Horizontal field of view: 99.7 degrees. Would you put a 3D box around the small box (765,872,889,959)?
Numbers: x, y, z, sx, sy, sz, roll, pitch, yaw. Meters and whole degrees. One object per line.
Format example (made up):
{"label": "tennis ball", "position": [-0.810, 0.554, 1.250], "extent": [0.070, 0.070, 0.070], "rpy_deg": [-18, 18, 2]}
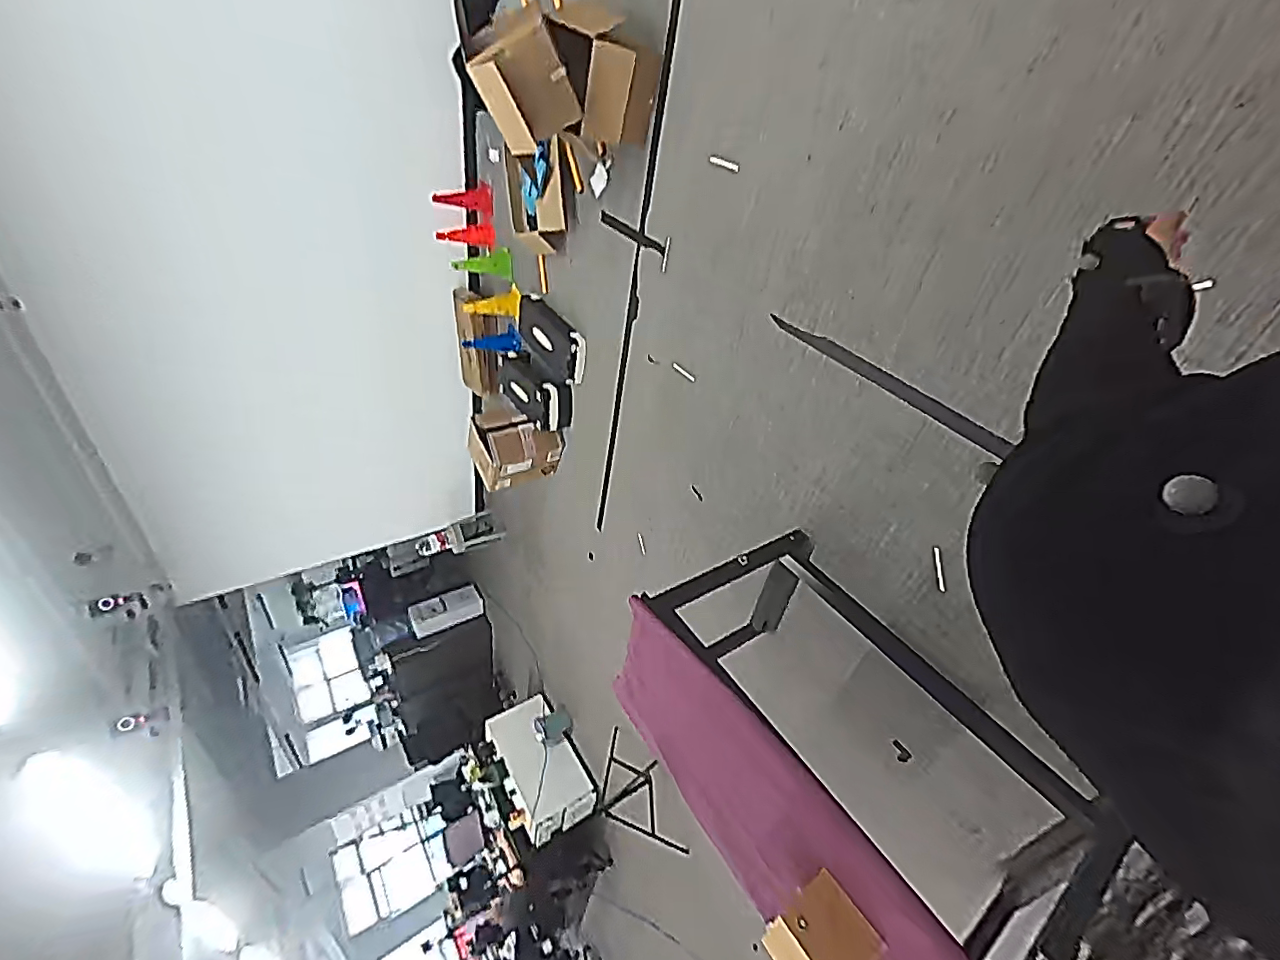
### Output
{"label": "small box", "position": [0.418, 1.038, 1.210], "extent": [0.179, 0.176, 0.168], "rpy_deg": [43, 138, 40]}
